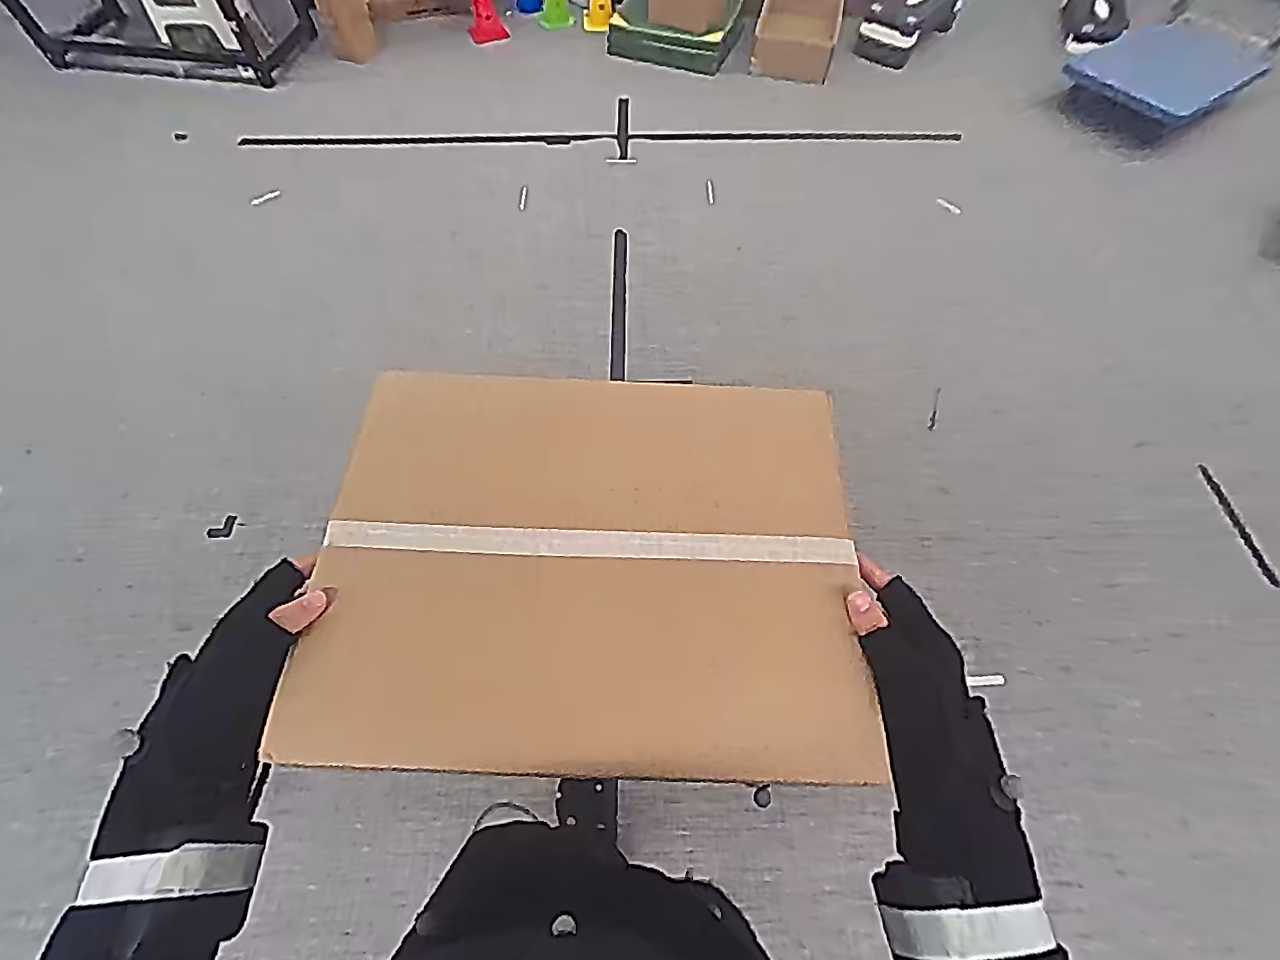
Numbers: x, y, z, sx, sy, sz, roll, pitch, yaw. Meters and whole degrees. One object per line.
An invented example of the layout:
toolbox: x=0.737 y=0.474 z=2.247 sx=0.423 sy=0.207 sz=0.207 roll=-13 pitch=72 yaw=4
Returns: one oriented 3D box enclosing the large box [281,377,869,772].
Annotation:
large box: x=-0.041 y=0.116 z=0.560 sx=0.408 sy=0.320 sz=0.320 roll=3 pitch=63 yaw=-1
